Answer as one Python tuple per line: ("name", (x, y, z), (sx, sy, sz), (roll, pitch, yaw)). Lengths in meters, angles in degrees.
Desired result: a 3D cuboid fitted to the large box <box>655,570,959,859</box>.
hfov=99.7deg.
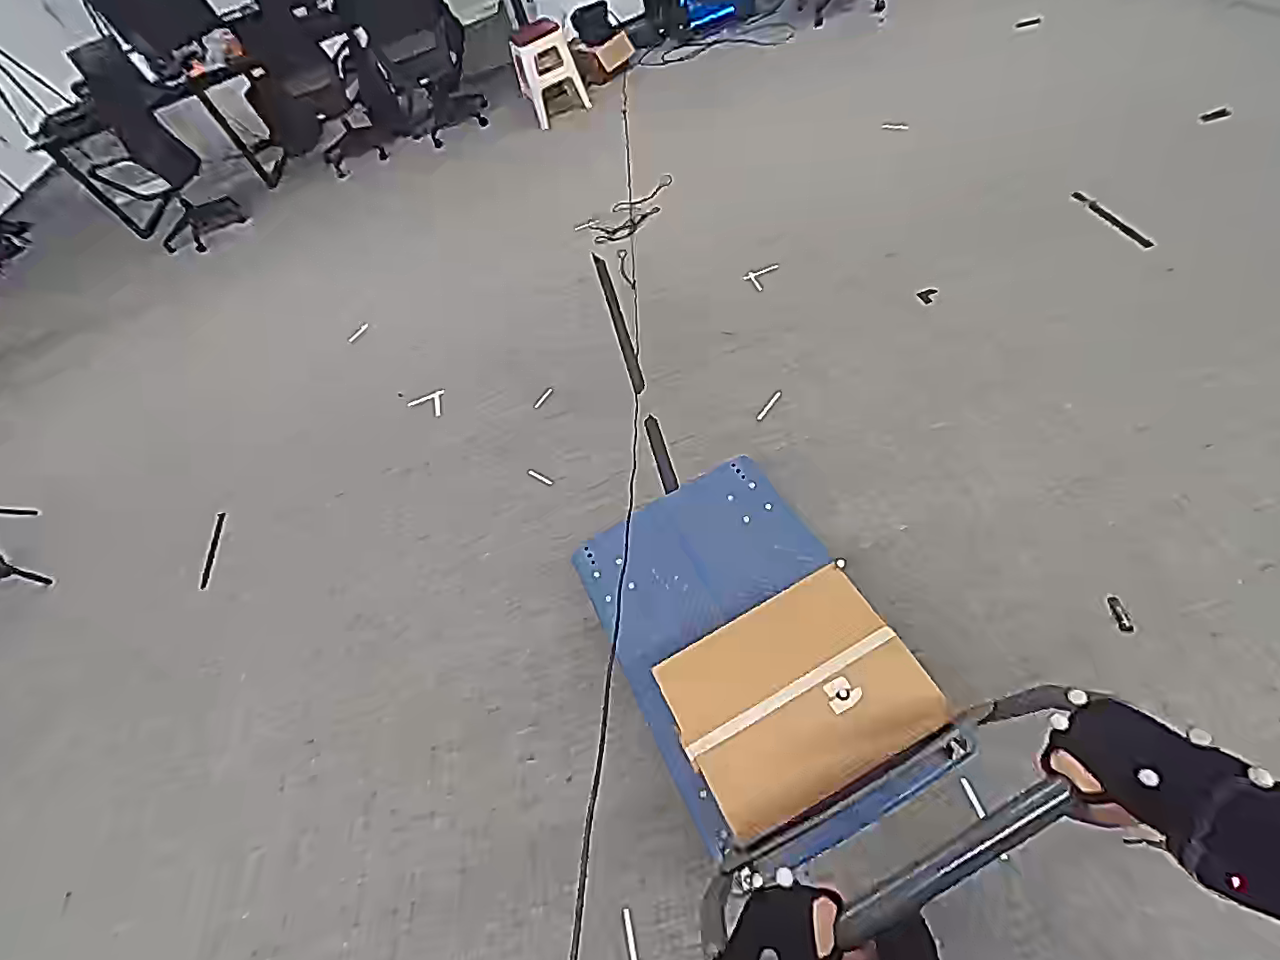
("large box", (0.294, 0.448, 1.029), (0.408, 0.320, 0.320), (-29, 56, -4))
